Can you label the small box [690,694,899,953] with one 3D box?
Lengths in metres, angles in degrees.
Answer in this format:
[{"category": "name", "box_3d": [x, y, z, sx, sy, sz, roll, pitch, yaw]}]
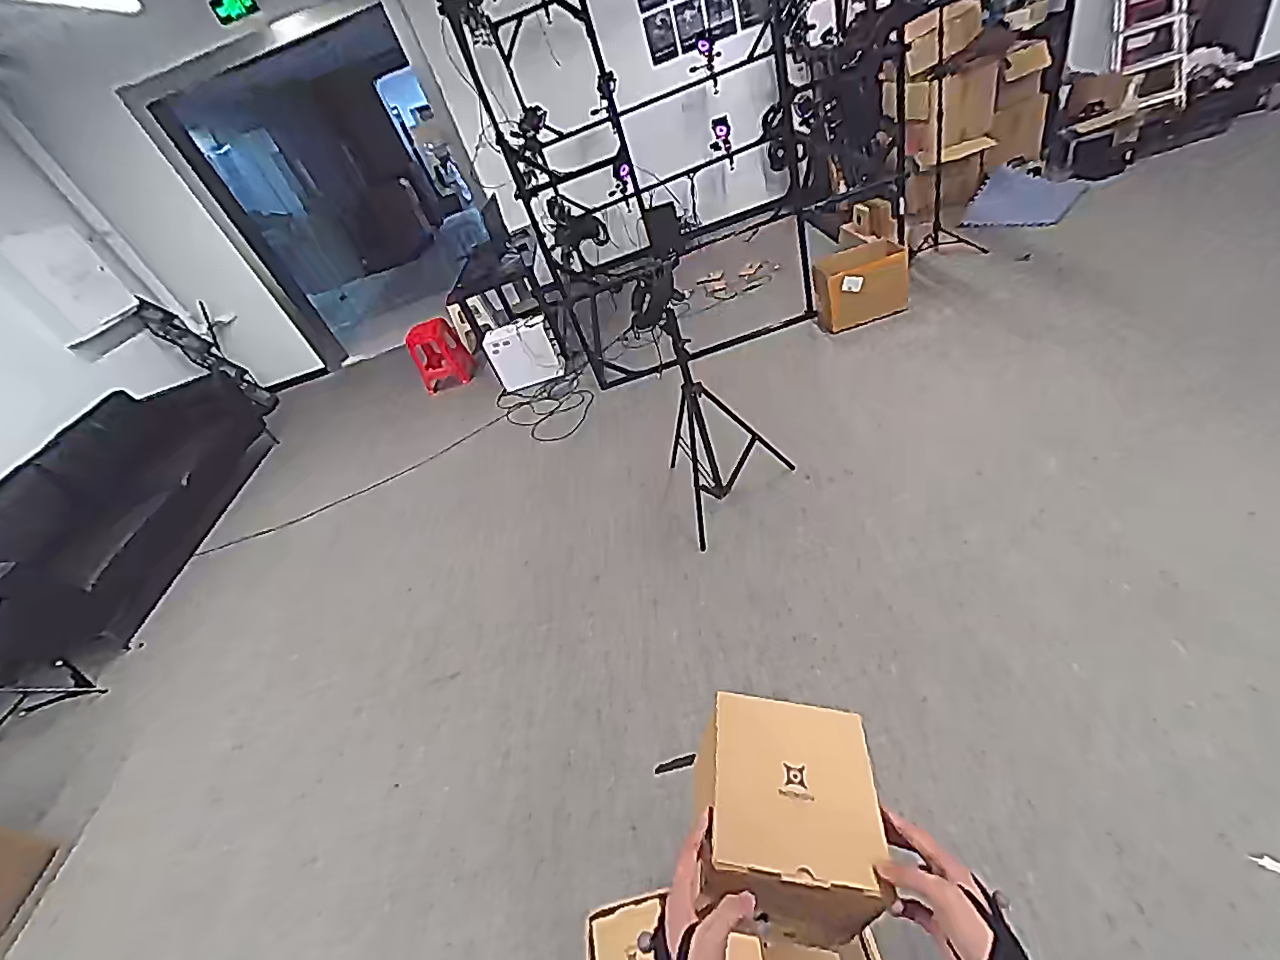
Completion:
[{"category": "small box", "box_3d": [0.149, 0.369, 0.588, 0.168, 0.176, 0.179, 8, 37, 2]}]
